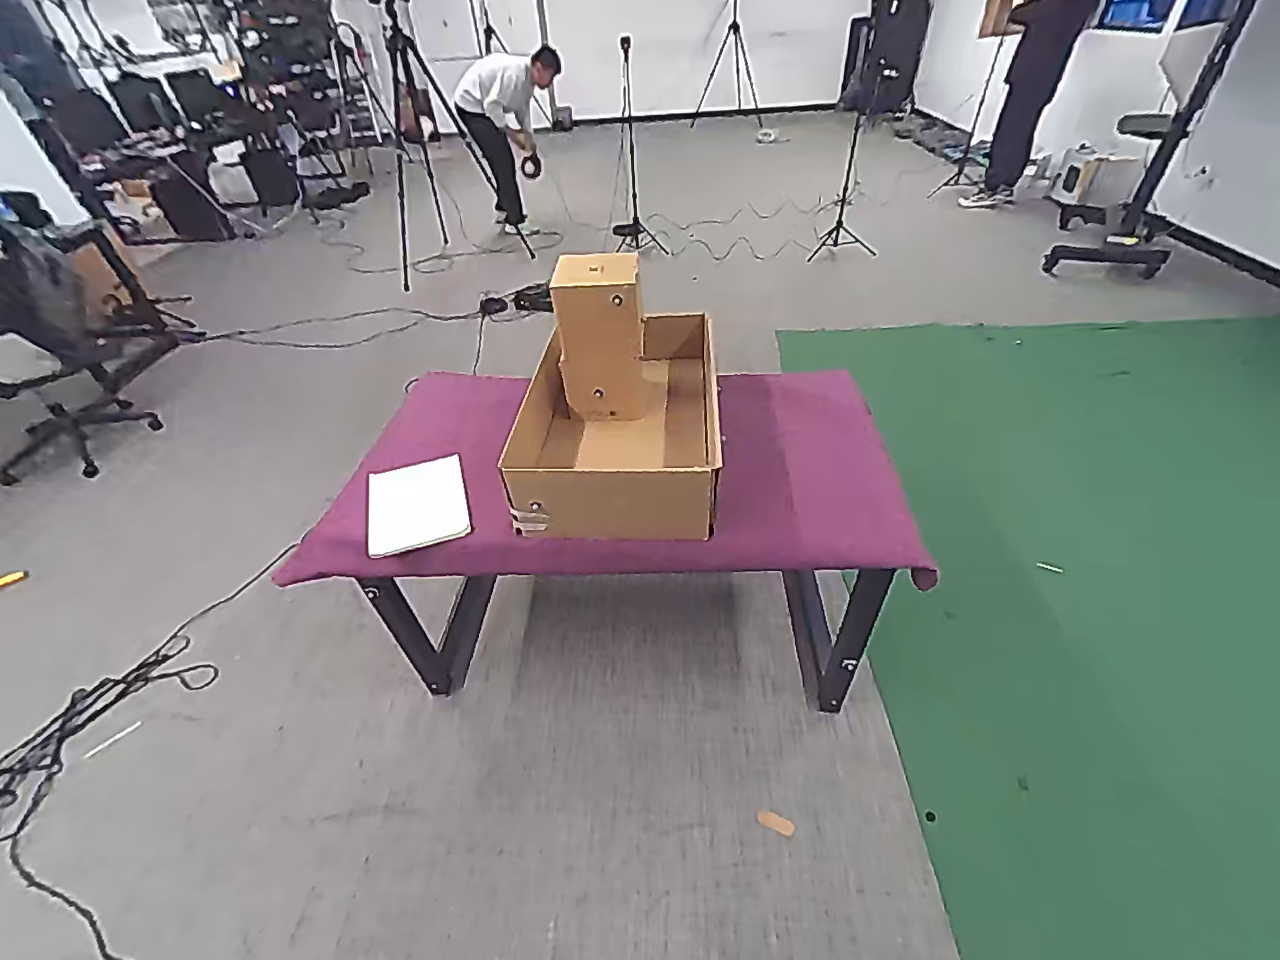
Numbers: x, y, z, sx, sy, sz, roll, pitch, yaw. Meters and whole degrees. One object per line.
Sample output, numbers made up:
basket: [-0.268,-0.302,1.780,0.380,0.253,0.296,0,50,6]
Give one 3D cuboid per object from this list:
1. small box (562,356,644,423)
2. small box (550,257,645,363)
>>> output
small box: [-0.079,-0.250,1.287,0.168,0.176,0.179,0,43,5]
small box: [-0.084,-0.367,1.176,0.179,0.176,0.168,-1,43,3]
